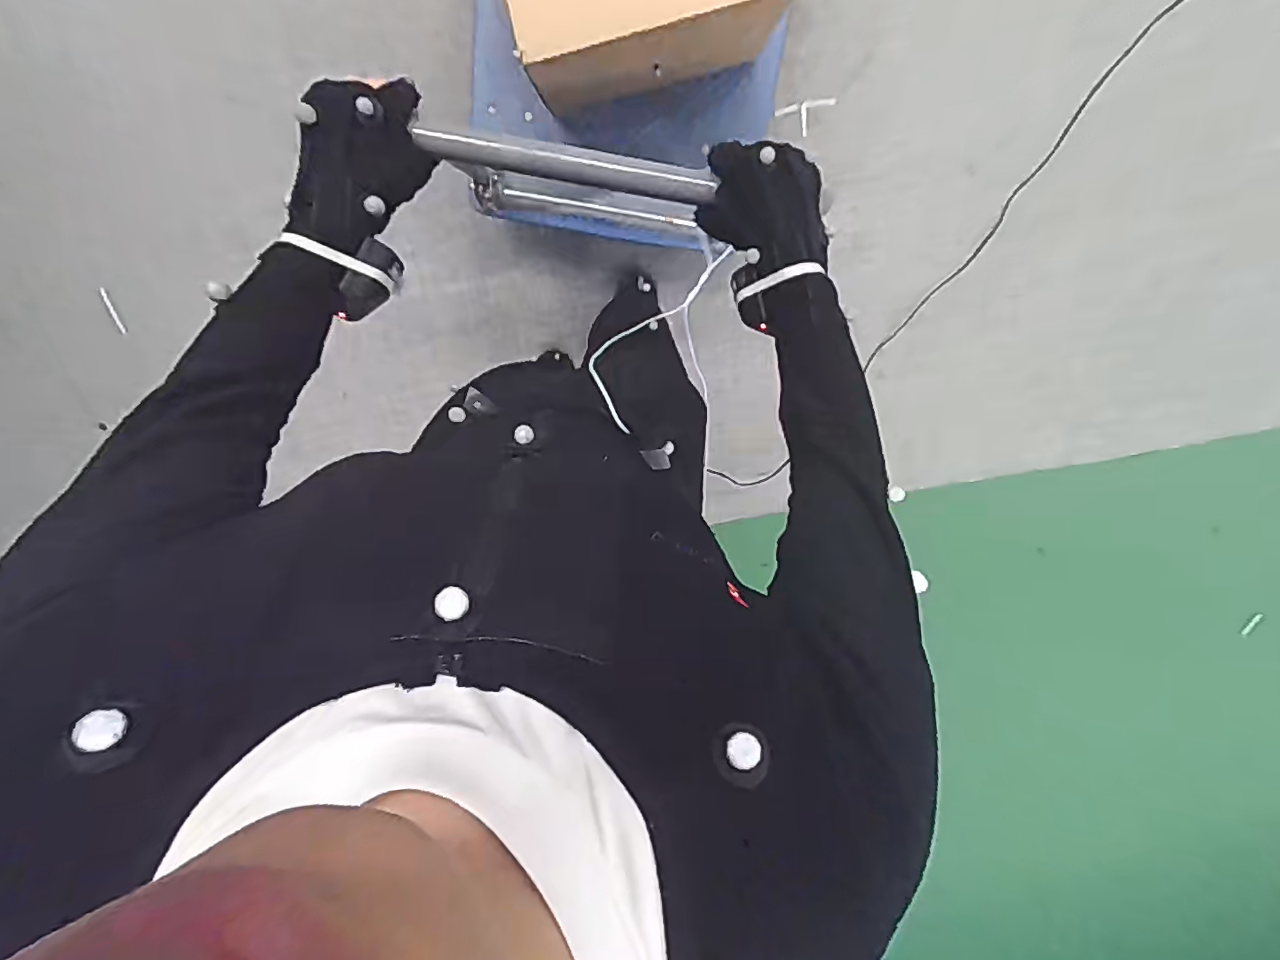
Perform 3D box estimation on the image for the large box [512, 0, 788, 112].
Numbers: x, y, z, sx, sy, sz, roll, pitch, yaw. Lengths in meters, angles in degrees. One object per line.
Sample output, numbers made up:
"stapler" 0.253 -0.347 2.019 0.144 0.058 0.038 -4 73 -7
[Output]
"large box" -0.002 -0.841 0.851 0.408 0.320 0.320 -12 111 6
